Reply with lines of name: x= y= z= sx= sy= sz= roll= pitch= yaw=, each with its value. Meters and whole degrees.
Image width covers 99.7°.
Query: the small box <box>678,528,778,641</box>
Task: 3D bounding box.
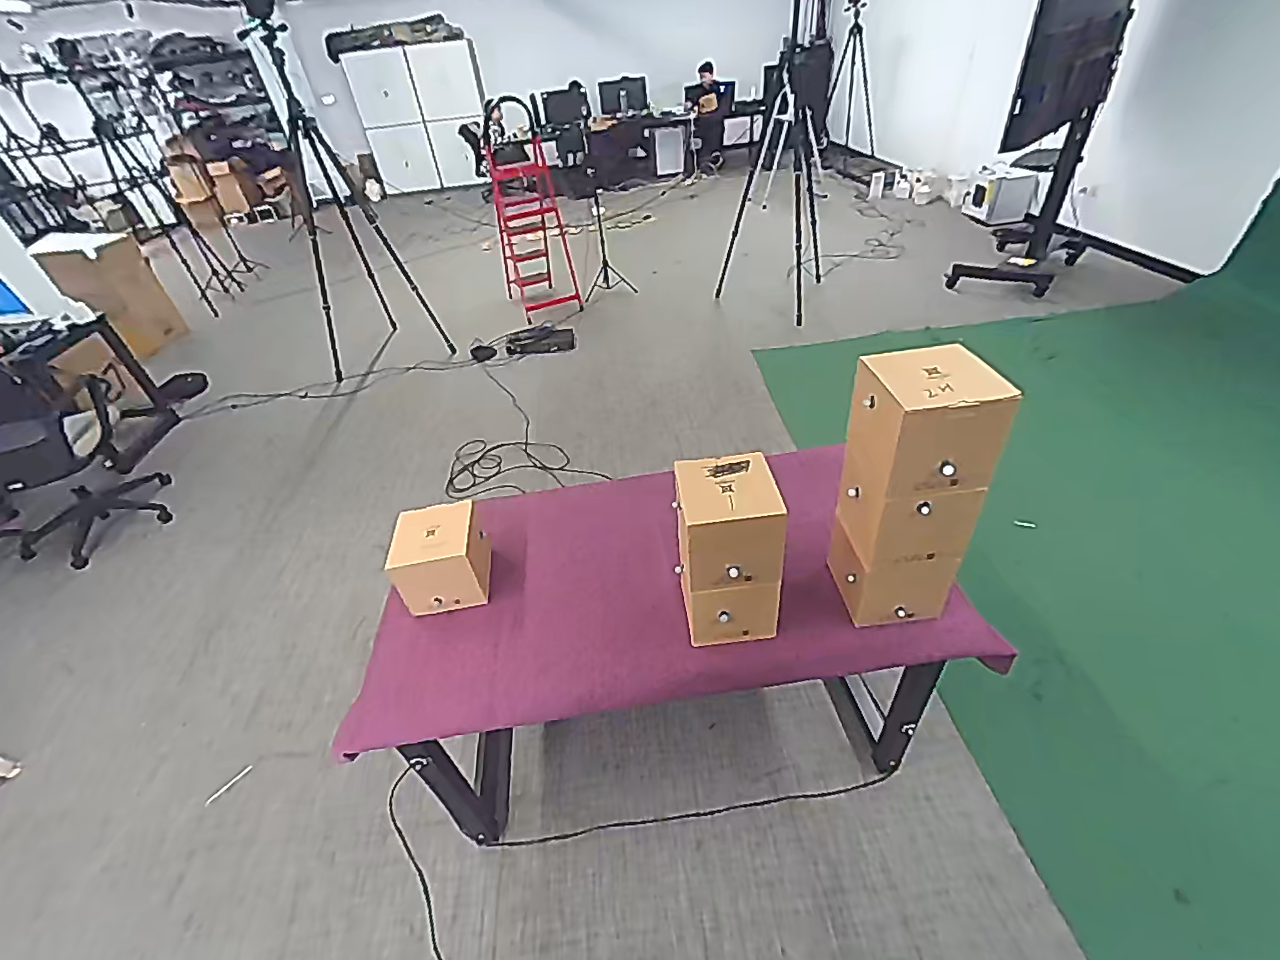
small box: x=0.172 y=0.203 z=1.075 sx=0.168 sy=0.176 sz=0.179 roll=-7 pitch=38 yaw=1

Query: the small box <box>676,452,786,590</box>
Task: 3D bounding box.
small box: x=0.157 y=0.073 z=0.975 sx=0.168 sy=0.176 sz=0.179 roll=-7 pitch=39 yaw=1

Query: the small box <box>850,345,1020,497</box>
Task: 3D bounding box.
small box: x=0.452 y=-0.095 z=0.867 sx=0.168 sy=0.176 sz=0.179 roll=-7 pitch=39 yaw=2

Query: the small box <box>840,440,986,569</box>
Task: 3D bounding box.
small box: x=0.471 y=0.035 z=0.967 sx=0.168 sy=0.176 sz=0.179 roll=-7 pitch=38 yaw=2

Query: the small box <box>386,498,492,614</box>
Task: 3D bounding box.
small box: x=-0.436 y=0.169 z=1.207 sx=0.168 sy=0.176 sz=0.179 roll=-10 pitch=40 yaw=-3
